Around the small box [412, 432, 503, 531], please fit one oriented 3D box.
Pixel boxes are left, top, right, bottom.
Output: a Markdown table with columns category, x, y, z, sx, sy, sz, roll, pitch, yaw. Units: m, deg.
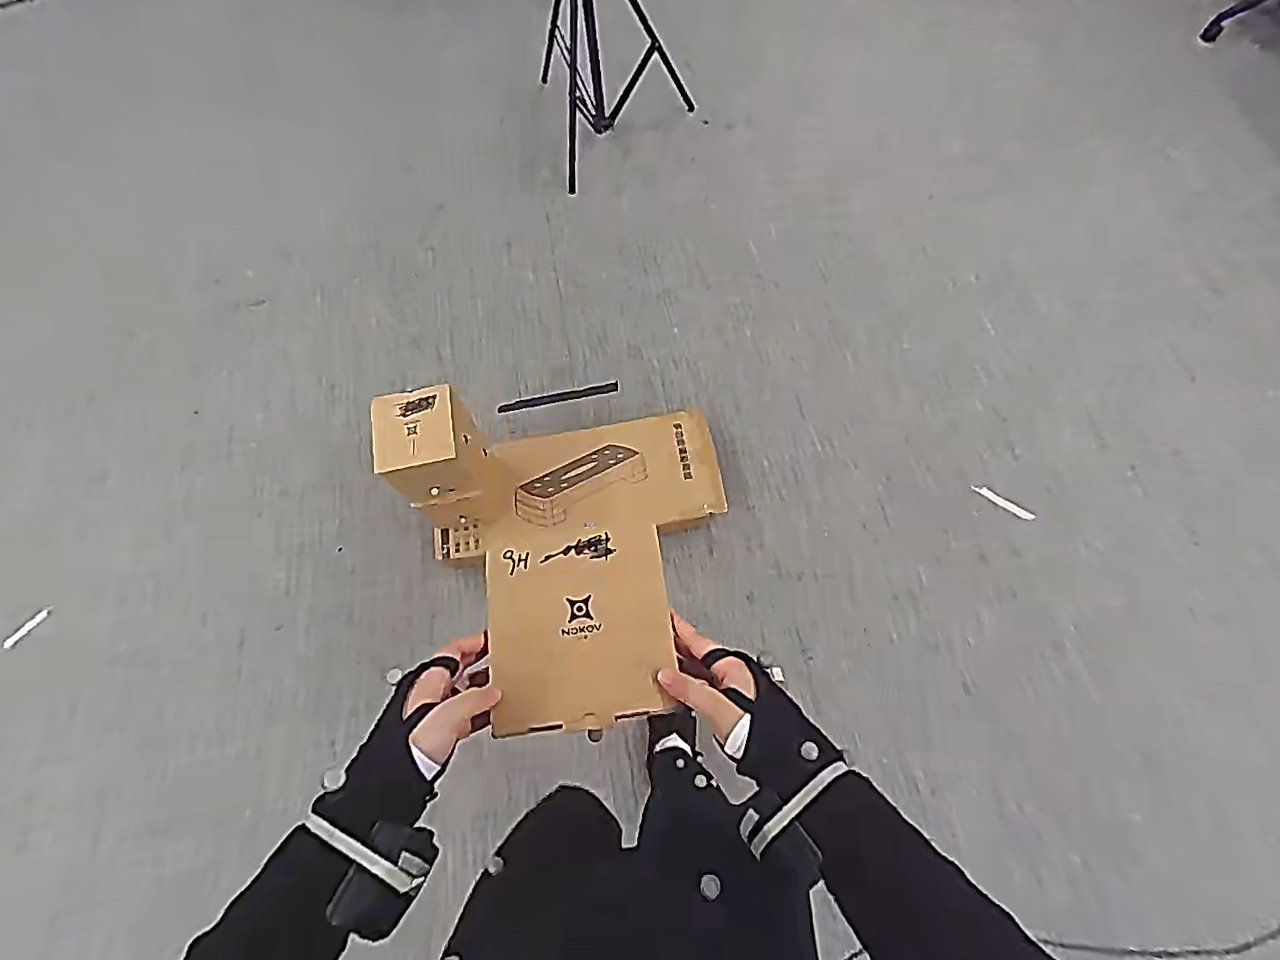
| category | x | y | z | sx | sy | sz | roll | pitch | yaw |
| --- | --- | --- | --- | --- | --- | --- | --- | --- | --- |
| small box | -0.443 | 0.008 | 1.322 | 0.168 | 0.176 | 0.179 | -10 | 68 | -1 |

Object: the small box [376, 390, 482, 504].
| category | x | y | z | sx | sy | sz | roll | pitch | yaw |
| --- | --- | --- | --- | --- | --- | --- | --- | --- | --- |
| small box | -0.454 | -0.068 | 1.176 | 0.168 | 0.176 | 0.179 | -12 | 68 | -2 |

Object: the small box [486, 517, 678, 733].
| category | x | y | z | sx | sy | sz | roll | pitch | yaw |
| --- | --- | --- | --- | --- | --- | --- | --- | --- | --- |
| small box | -0.056 | 0.154 | 0.563 | 0.168 | 0.176 | 0.179 | -7 | 67 | -3 |
